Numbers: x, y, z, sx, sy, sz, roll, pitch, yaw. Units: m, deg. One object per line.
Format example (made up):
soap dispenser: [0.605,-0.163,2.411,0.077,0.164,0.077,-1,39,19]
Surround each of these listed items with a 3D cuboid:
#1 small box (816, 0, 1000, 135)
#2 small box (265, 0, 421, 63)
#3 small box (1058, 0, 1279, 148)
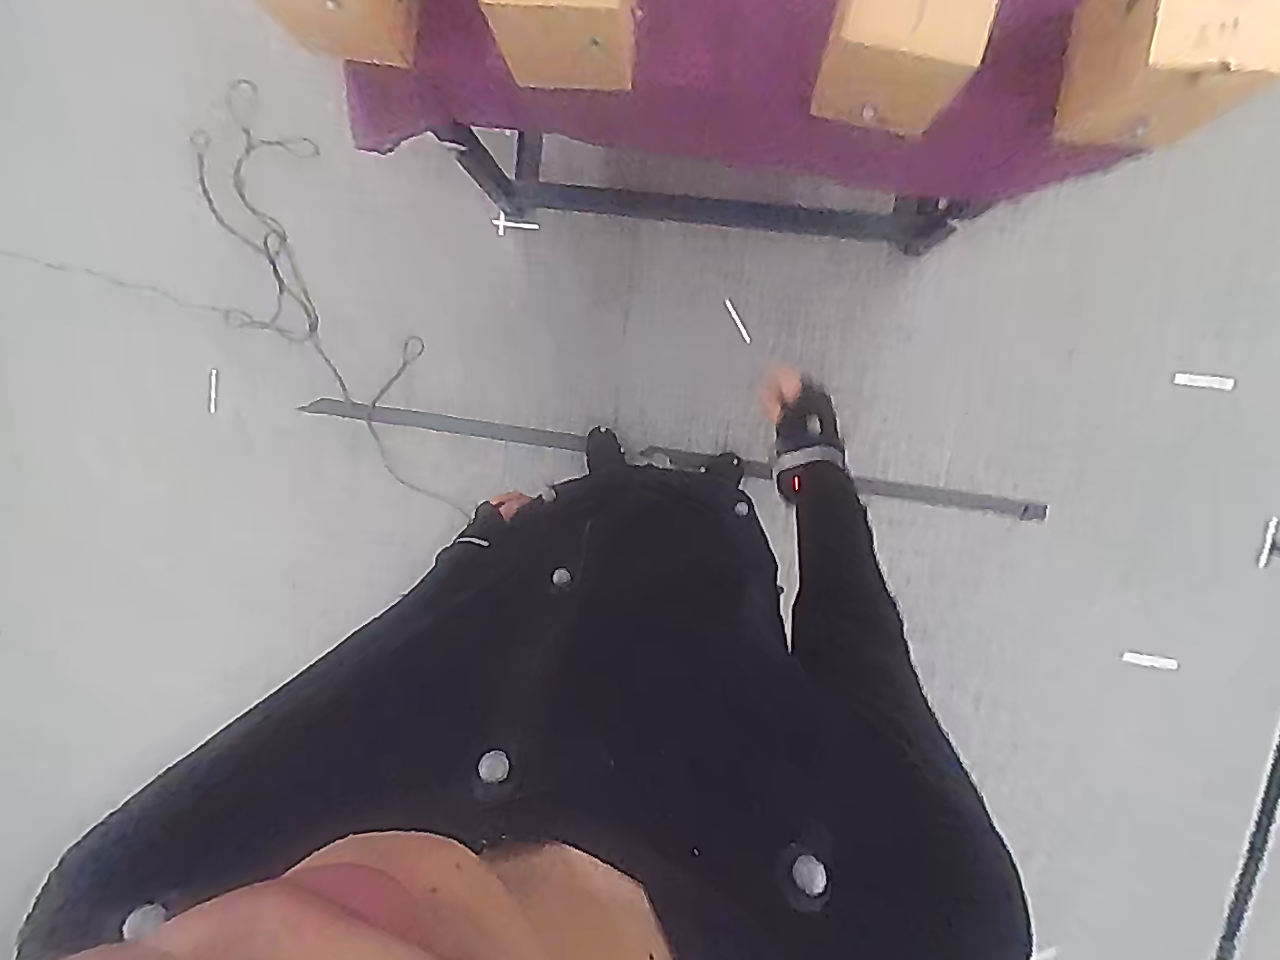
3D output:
small box: [0.346,-0.596,0.705,0.168,0.176,0.179,14,99,3]
small box: [-0.427,-0.724,0.751,0.179,0.176,0.168,9,97,2]
small box: [0.675,-0.557,0.681,0.168,0.176,0.179,8,97,5]
